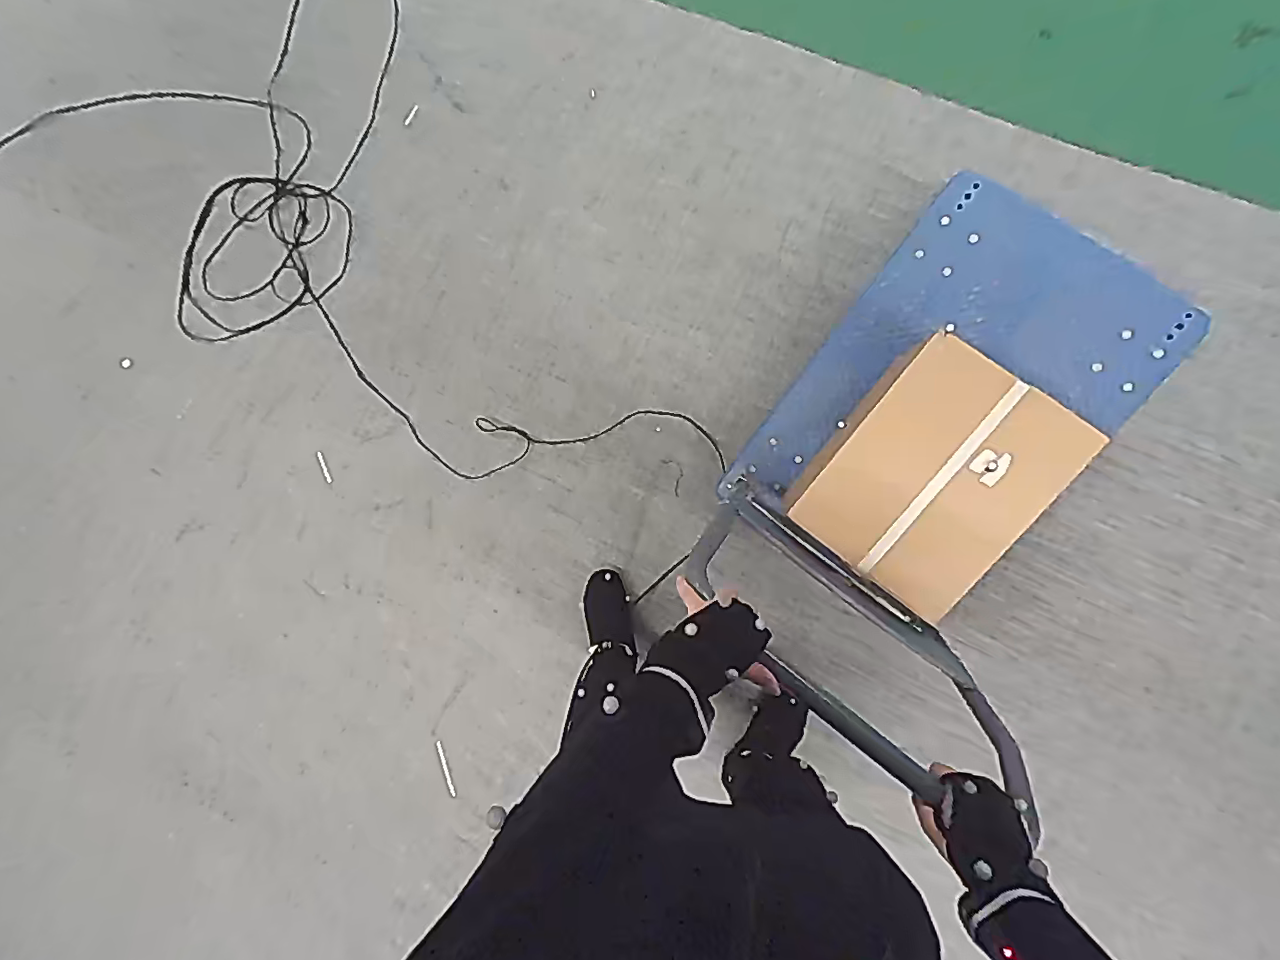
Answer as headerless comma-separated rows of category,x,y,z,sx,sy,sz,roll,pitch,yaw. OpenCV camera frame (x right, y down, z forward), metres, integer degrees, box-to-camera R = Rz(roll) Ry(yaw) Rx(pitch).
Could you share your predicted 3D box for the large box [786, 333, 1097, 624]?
large box,0.529,-0.004,1.055,0.320,0.320,0.408,38,100,8
